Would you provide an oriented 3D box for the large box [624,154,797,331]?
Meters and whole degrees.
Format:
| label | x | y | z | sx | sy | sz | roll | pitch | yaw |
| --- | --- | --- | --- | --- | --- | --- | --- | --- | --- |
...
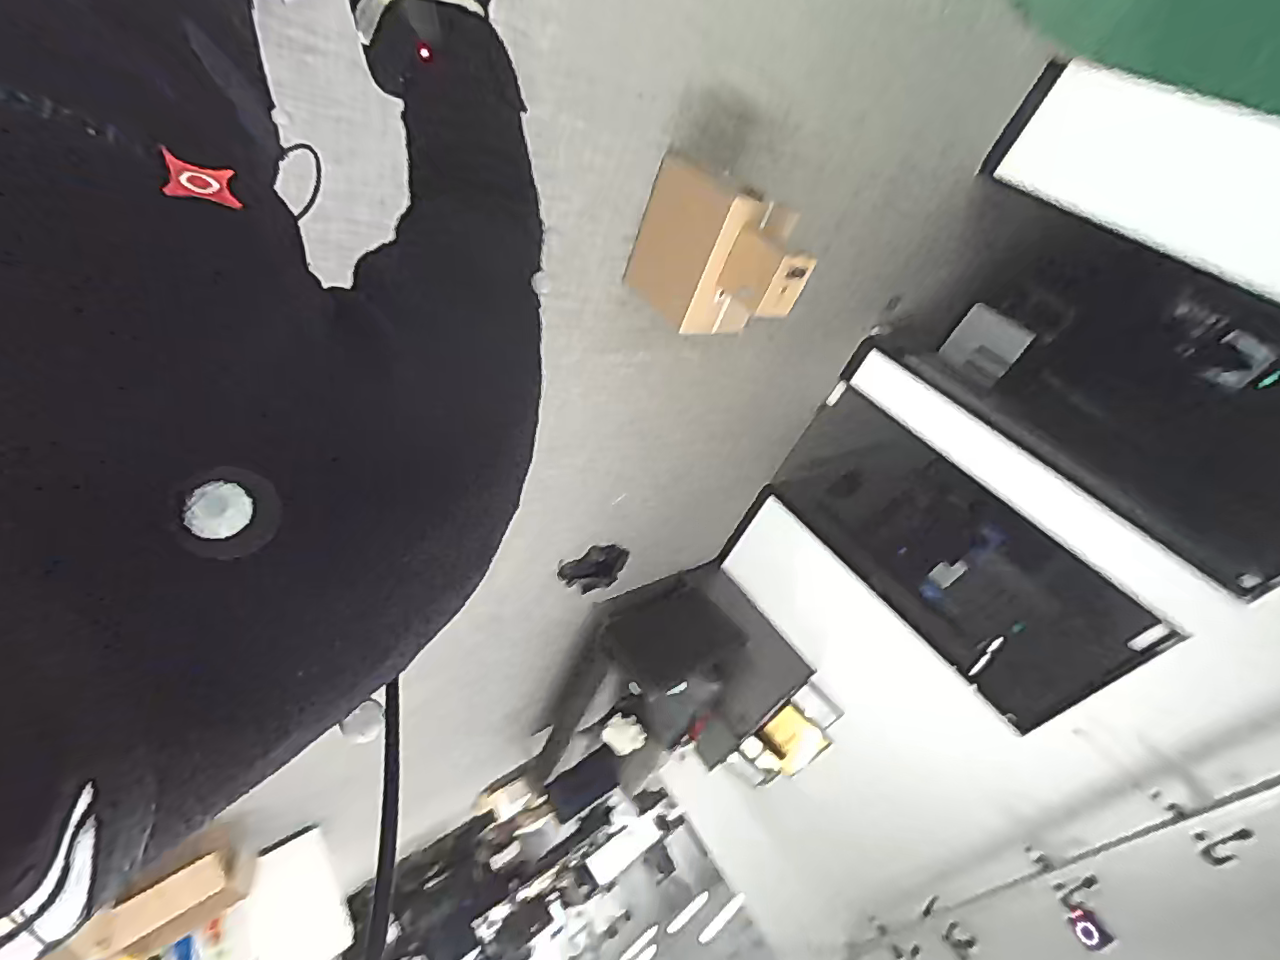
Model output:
| label | x | y | z | sx | sy | sz | roll | pitch | yaw |
| --- | --- | --- | --- | --- | --- | --- | --- | --- | --- |
| large box | 0.203 | -0.727 | 1.683 | 0.320 | 0.320 | 0.408 | -14 | 143 | -39 |
